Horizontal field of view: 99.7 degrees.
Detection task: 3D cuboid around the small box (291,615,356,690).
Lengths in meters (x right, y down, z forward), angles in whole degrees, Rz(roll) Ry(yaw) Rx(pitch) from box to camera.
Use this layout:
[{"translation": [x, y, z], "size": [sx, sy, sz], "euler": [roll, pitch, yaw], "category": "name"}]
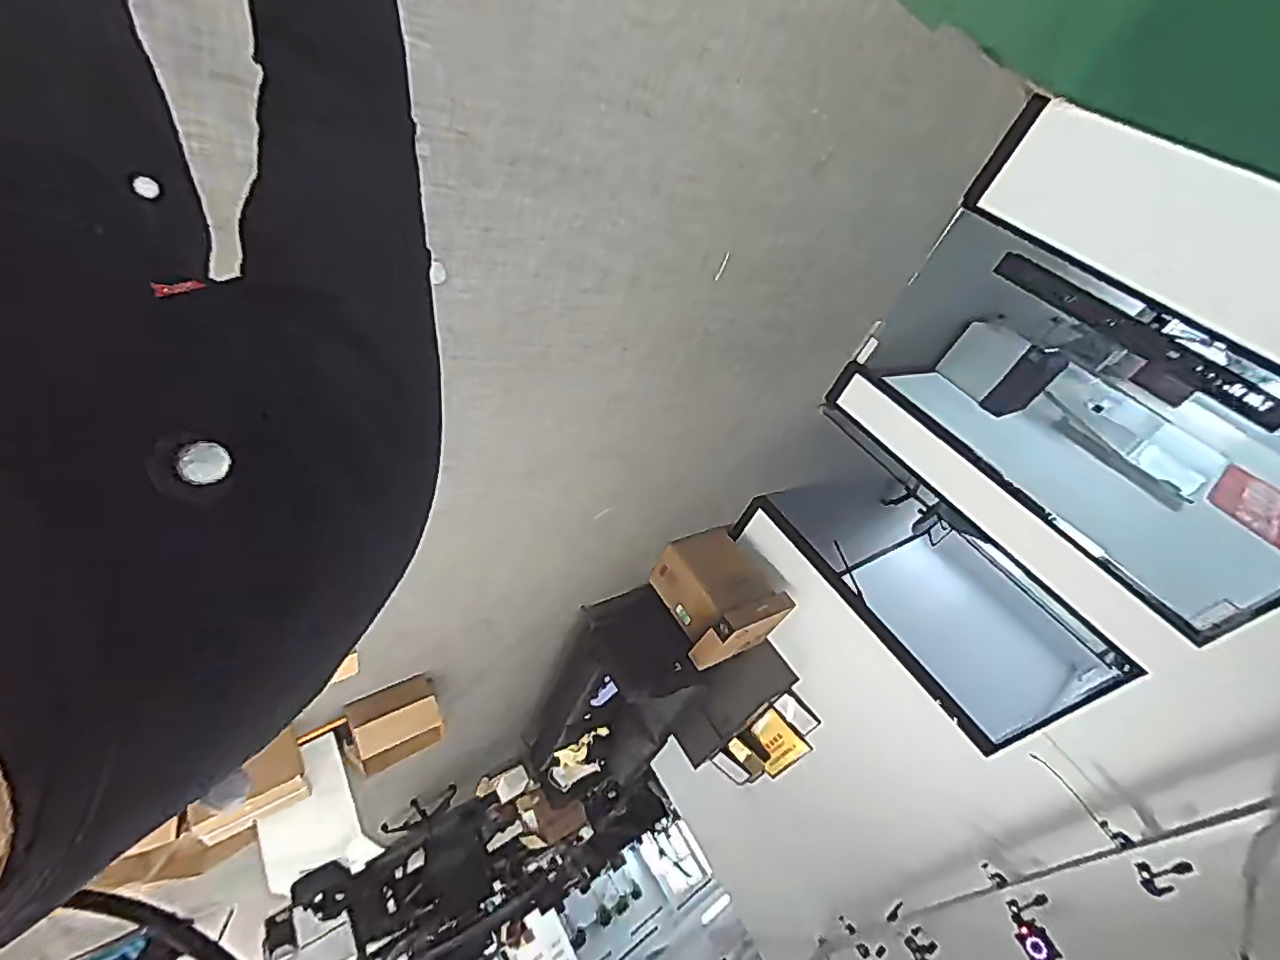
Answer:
[{"translation": [-1.169, 0.631, 1.992], "size": [0.179, 0.176, 0.168], "euler": [-15, 145, -37], "category": "small box"}]
